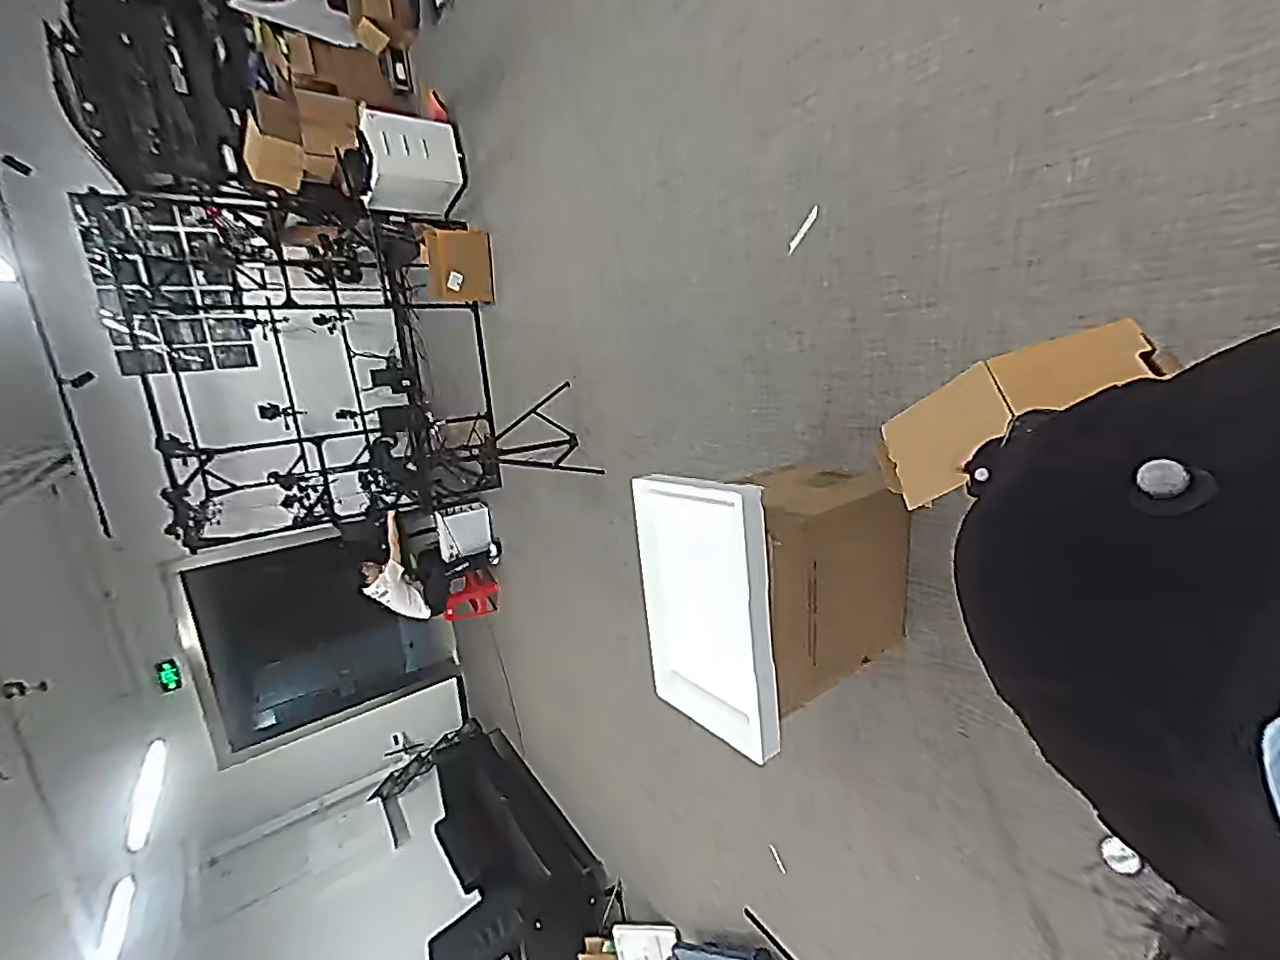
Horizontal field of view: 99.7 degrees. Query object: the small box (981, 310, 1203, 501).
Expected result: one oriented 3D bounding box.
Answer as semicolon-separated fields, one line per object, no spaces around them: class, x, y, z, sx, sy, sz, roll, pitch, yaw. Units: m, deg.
small box;0.590;-0.091;0.738;0.179;0.176;0.168;-15;53;20
